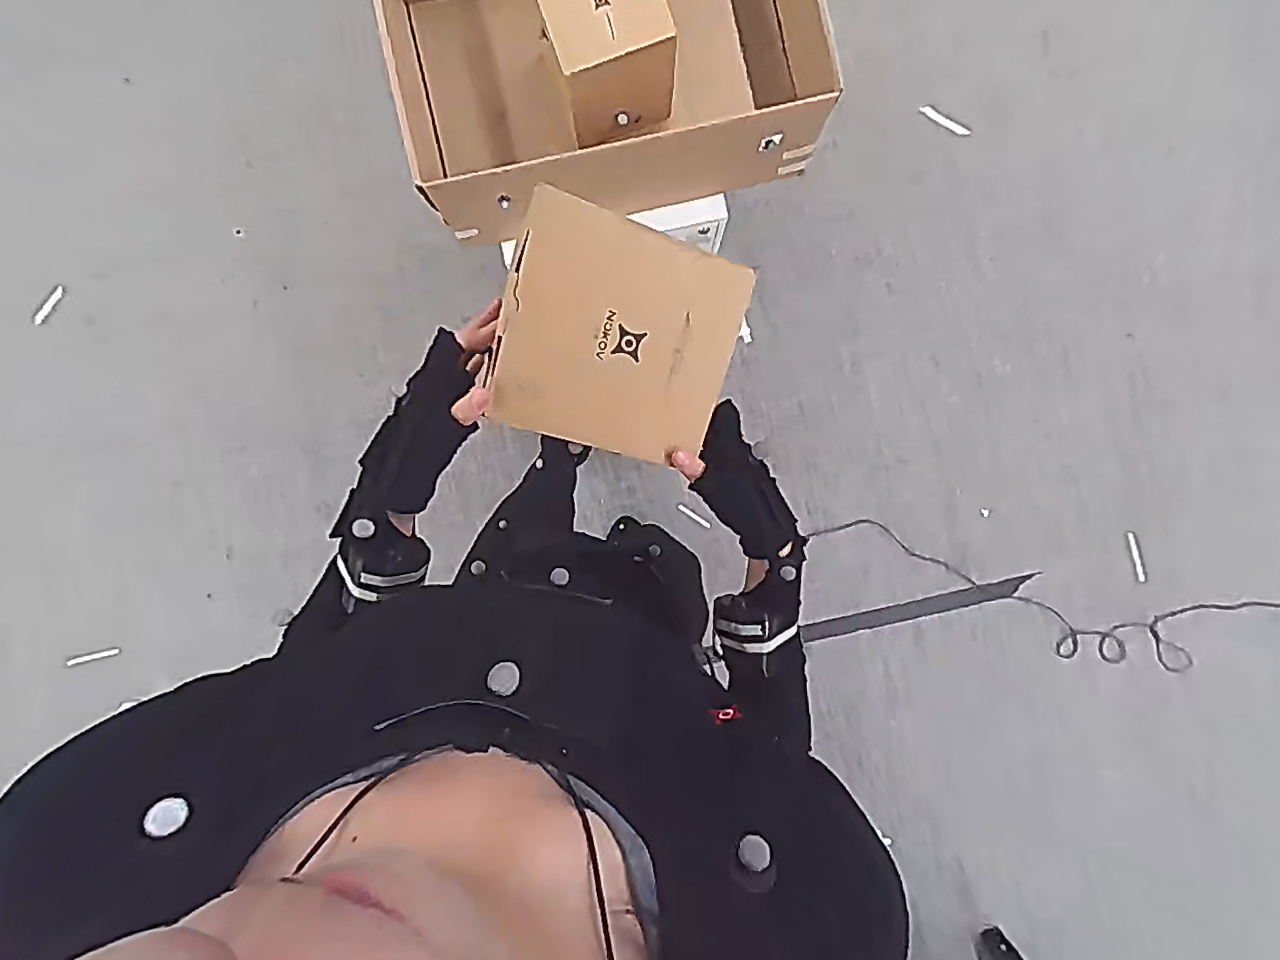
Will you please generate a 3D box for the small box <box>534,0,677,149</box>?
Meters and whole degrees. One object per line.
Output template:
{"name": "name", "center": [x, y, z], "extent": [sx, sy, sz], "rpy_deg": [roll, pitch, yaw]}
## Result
{"name": "small box", "center": [-0.054, -0.648, 0.811], "extent": [0.168, 0.176, 0.179], "rpy_deg": [-20, 90, 0]}
